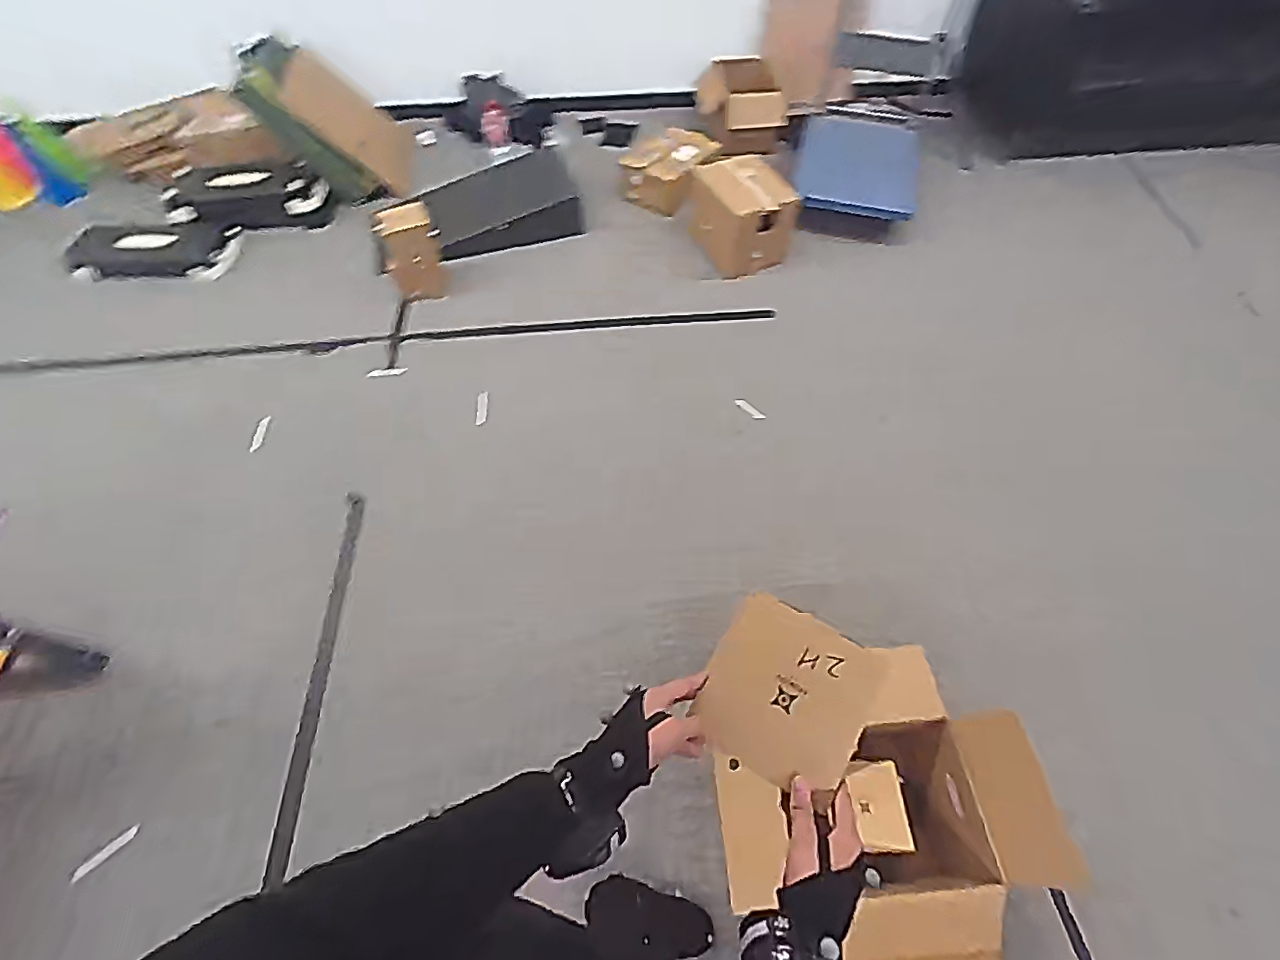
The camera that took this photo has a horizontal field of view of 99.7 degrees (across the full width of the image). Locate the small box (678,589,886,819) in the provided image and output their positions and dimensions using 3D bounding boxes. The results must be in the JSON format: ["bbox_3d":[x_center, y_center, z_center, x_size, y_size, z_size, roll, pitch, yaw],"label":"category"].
[{"bbox_3d":[0.159,0.260,0.653,0.168,0.176,0.179,29,74,13],"label":"small box"}]
